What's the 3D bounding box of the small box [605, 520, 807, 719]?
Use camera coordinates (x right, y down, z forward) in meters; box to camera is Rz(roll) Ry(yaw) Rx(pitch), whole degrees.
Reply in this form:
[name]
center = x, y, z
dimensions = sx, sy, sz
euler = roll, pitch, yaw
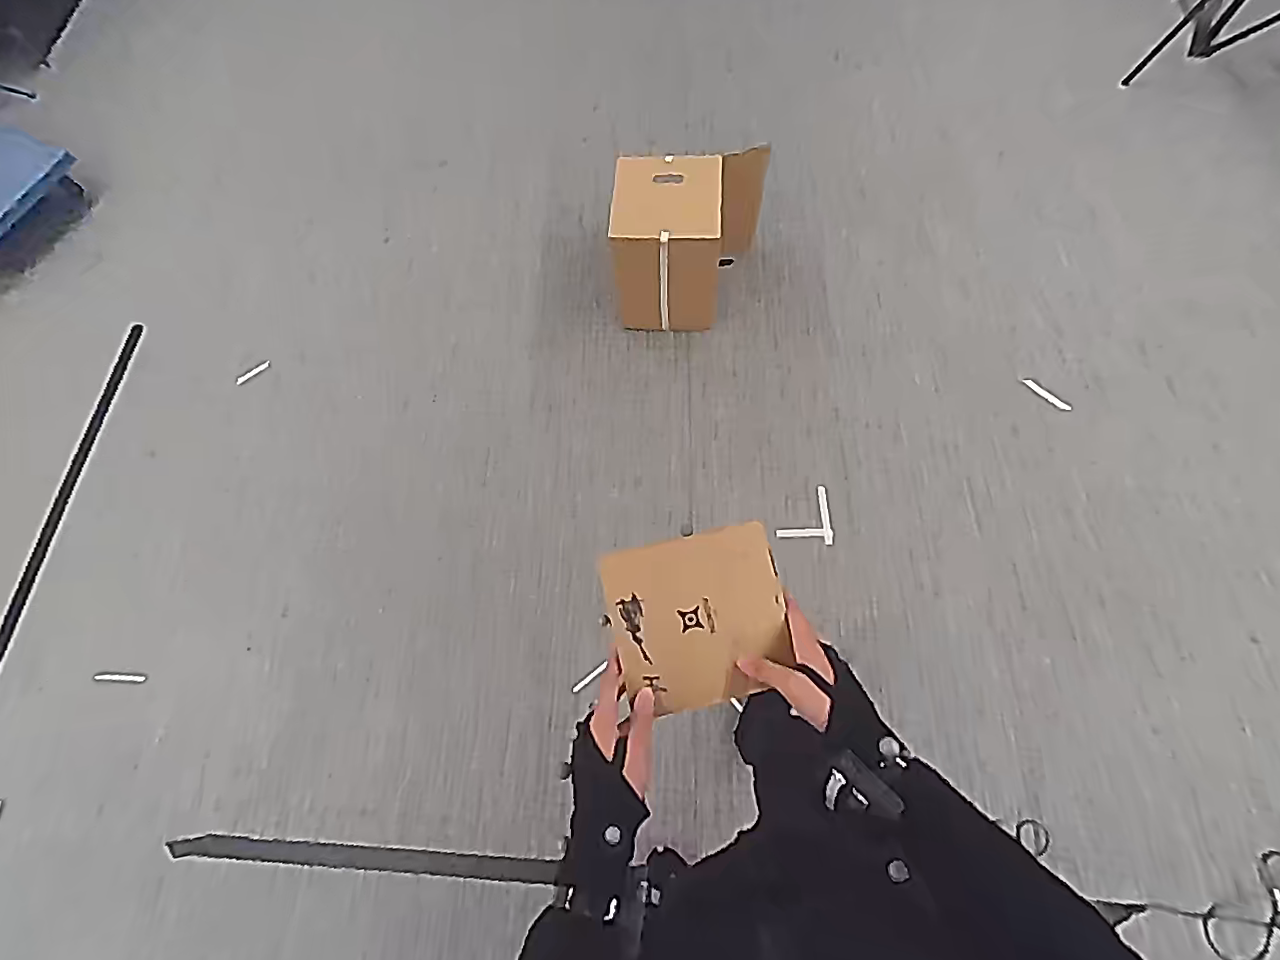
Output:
[small box]
center = 0.061, 0.143, 0.614
dimensions = 0.179, 0.176, 0.168
euler = -13, 84, -3
